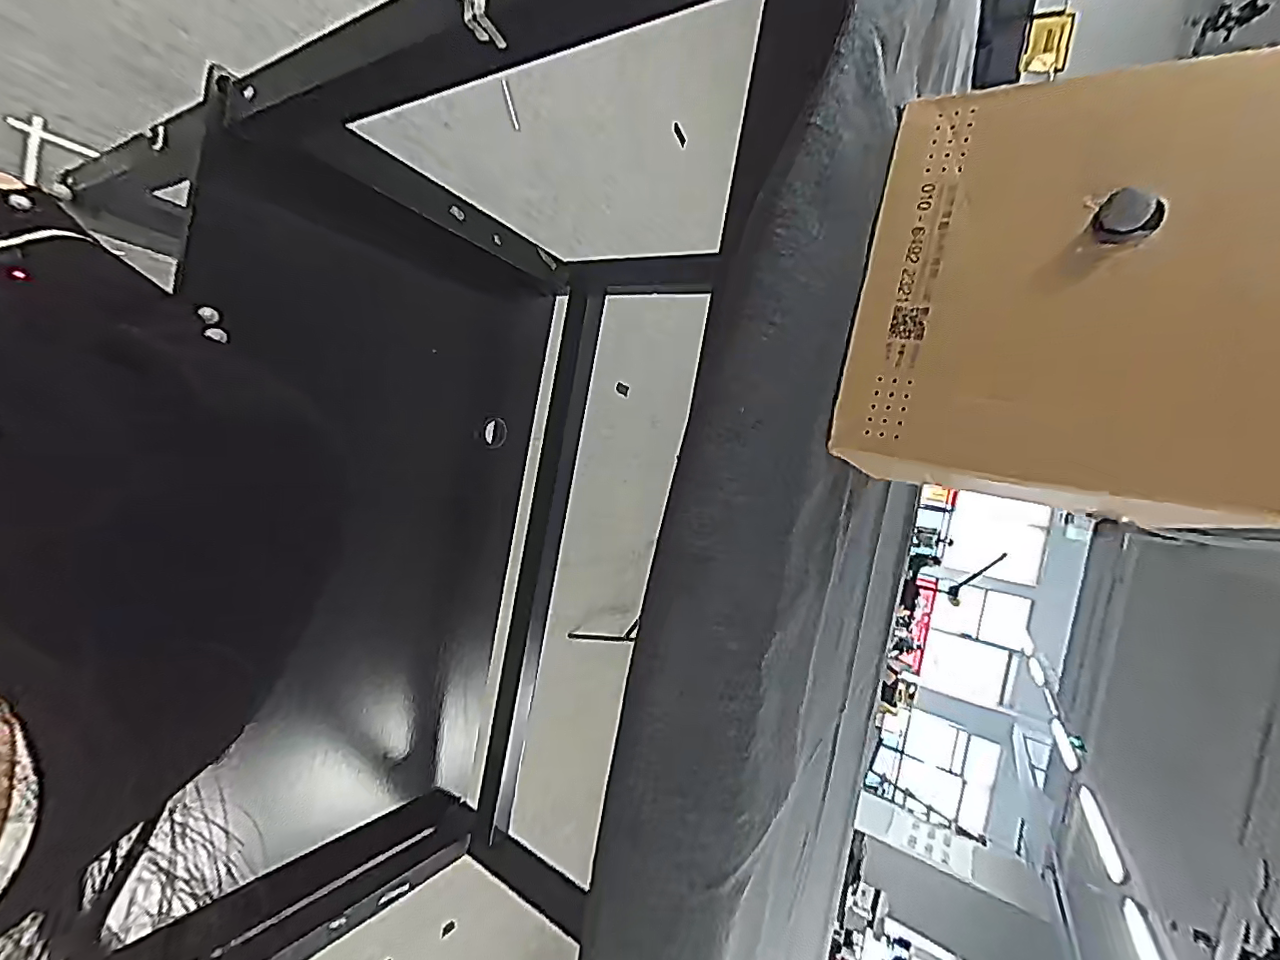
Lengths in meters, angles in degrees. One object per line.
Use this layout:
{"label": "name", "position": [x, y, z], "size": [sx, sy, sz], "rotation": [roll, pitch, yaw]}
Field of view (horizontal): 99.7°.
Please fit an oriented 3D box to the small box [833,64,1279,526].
{"label": "small box", "position": [0.214, -0.073, 0.293], "size": [0.179, 0.176, 0.168], "rotation": [8, 95, -61]}
